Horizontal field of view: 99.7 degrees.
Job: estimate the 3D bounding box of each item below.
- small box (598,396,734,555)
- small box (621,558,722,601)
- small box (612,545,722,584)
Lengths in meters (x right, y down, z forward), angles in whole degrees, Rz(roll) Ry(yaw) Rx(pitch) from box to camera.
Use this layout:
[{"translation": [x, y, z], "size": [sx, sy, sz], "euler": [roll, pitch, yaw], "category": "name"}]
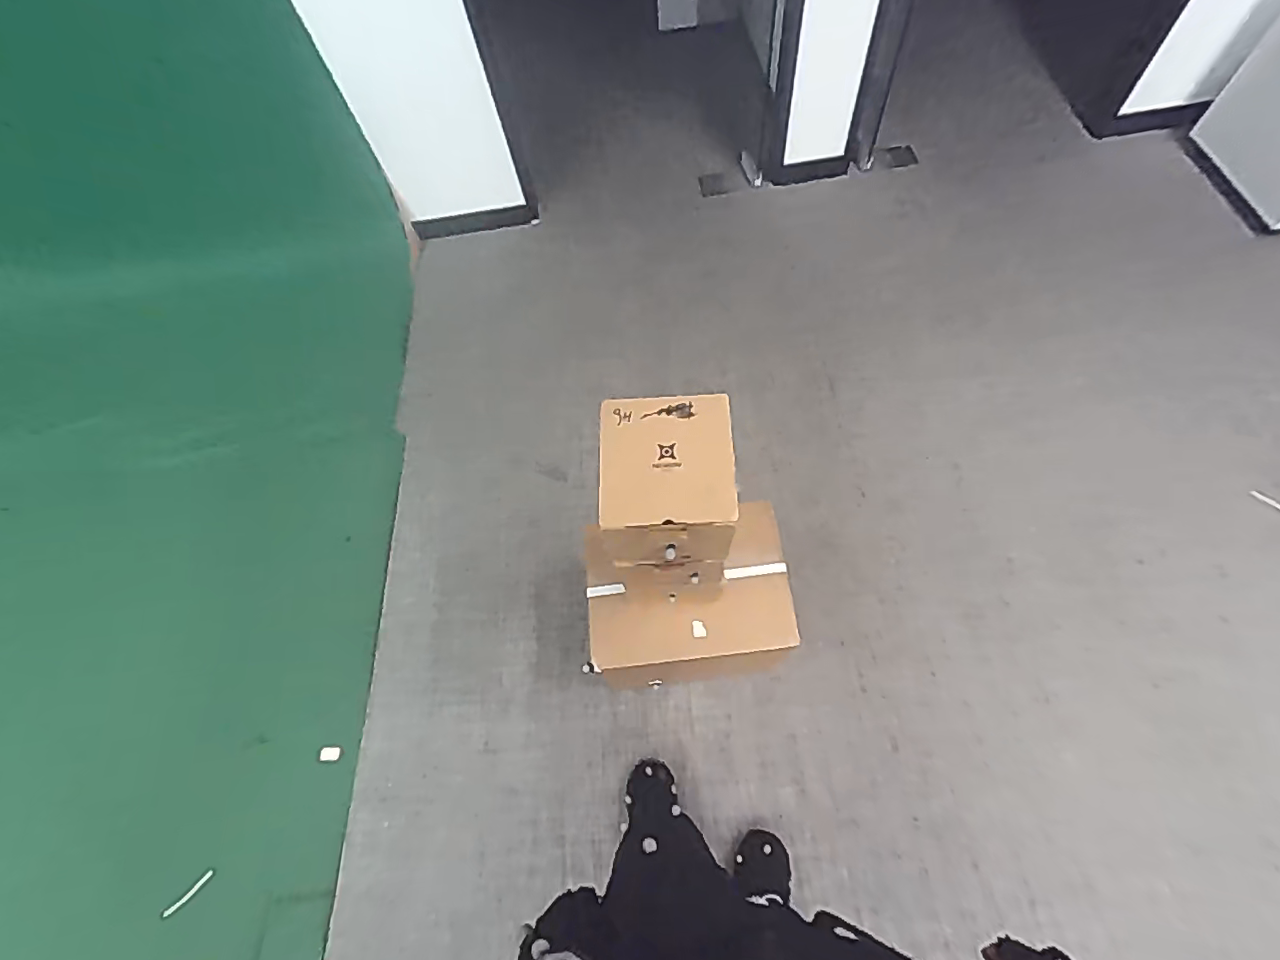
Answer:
[{"translation": [0.037, 0.004, 0.741], "size": [0.168, 0.176, 0.179], "euler": [-2, 68, 4], "category": "small box"}, {"translation": [0.063, 0.134, 1.035], "size": [0.179, 0.176, 0.168], "euler": [-1, 66, 5], "category": "small box"}, {"translation": [0.044, 0.071, 0.890], "size": [0.168, 0.176, 0.179], "euler": [-4, 66, 3], "category": "small box"}]
